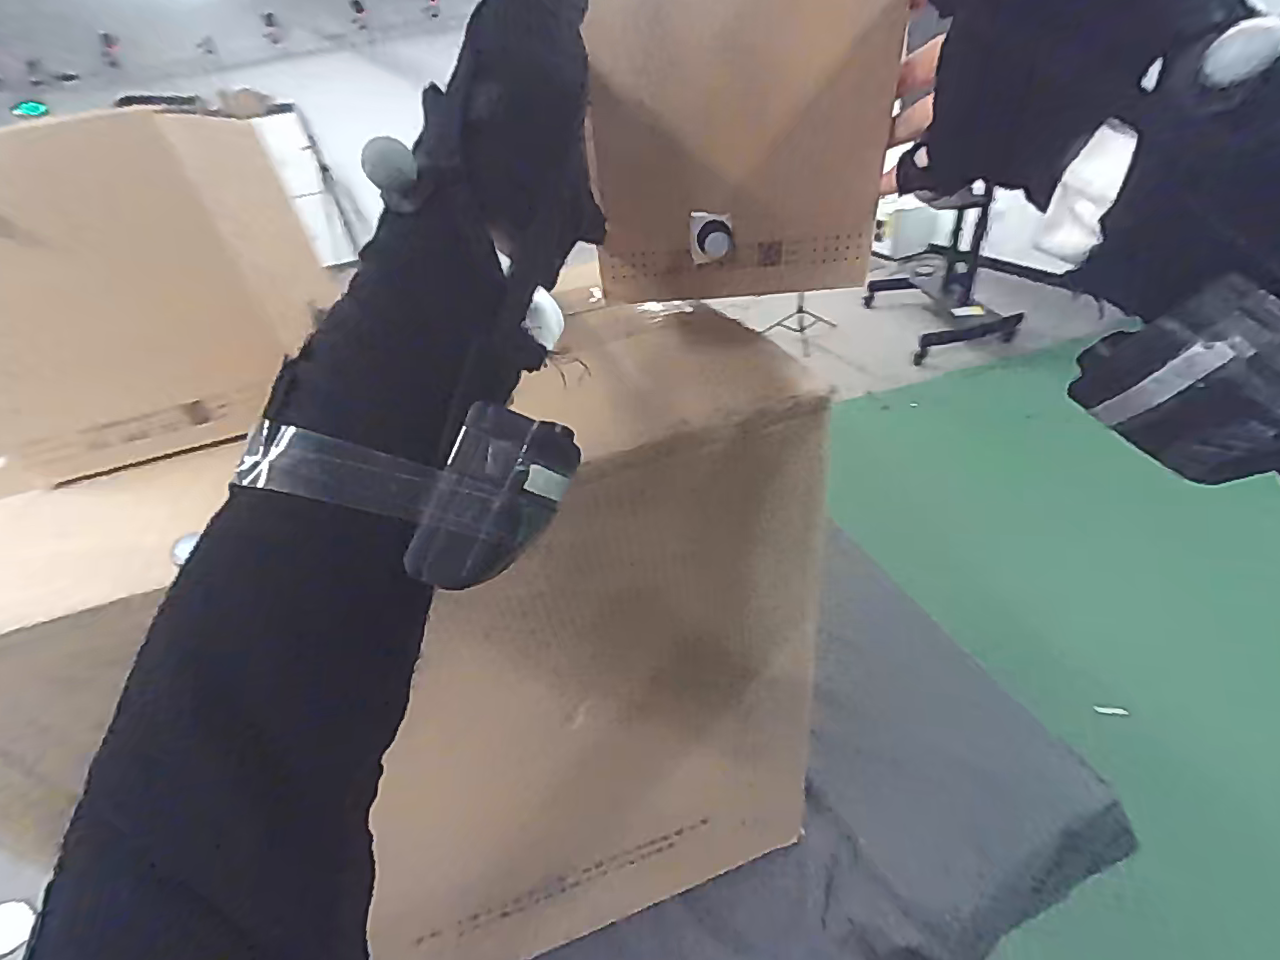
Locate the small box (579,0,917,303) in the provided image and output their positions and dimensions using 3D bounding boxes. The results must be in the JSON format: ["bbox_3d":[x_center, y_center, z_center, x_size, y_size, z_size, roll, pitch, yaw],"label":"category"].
[{"bbox_3d":[0.058,-0.232,0.365,0.168,0.176,0.179,-3,38,5],"label":"small box"}]

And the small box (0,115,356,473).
[{"bbox_3d":[-0.318,-0.130,0.366,0.168,0.176,0.179,-17,35,-9],"label":"small box"}]
